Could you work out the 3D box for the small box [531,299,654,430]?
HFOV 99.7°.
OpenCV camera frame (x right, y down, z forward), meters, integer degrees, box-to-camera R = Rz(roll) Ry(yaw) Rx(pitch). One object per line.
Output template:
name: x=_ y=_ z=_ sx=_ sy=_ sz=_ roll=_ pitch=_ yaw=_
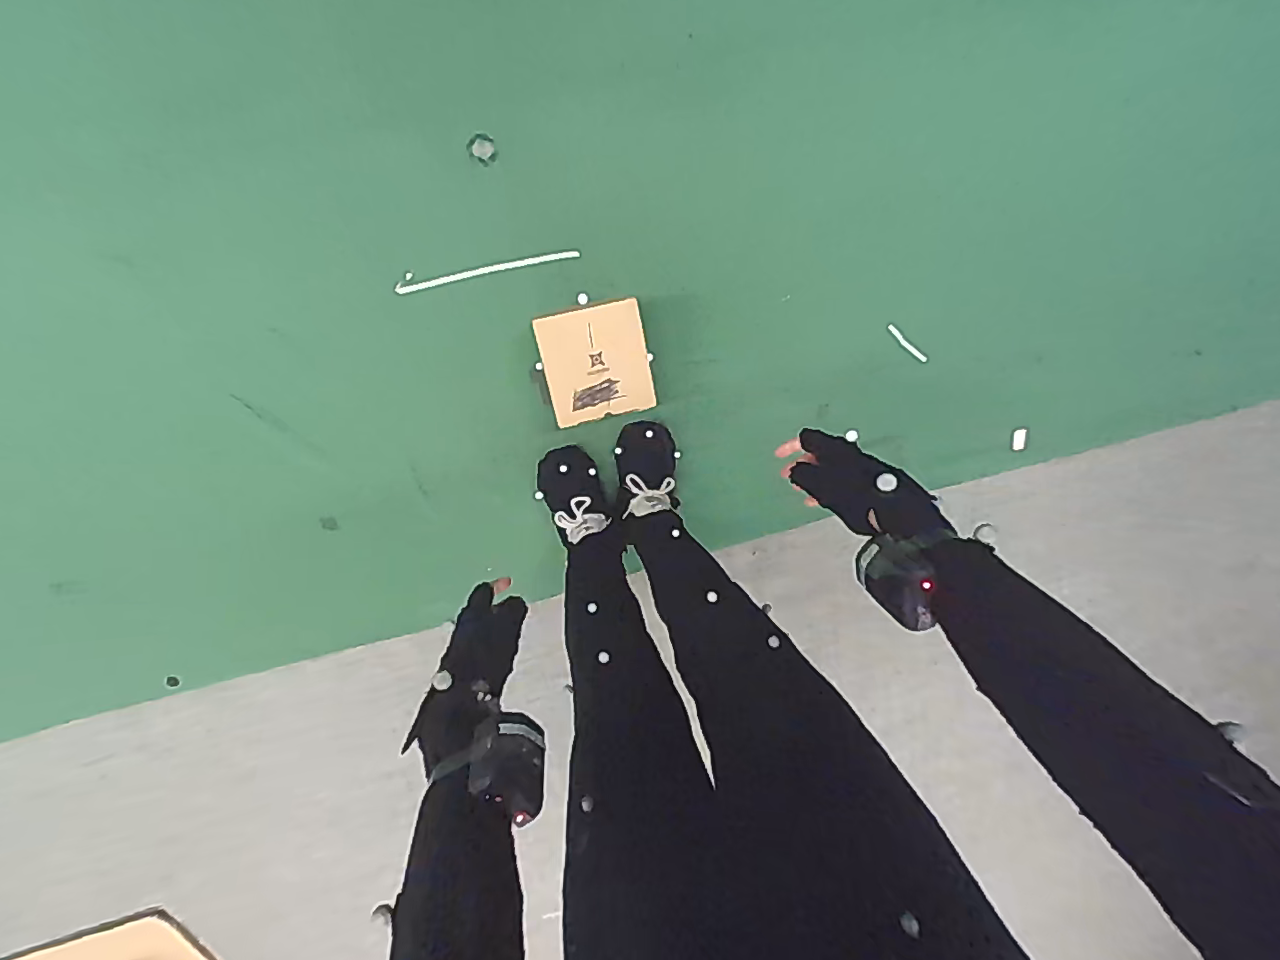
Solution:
small box: x=-0.082 y=-0.203 z=0.923 sx=0.168 sy=0.176 sz=0.179 roll=-14 pitch=111 yaw=-5
